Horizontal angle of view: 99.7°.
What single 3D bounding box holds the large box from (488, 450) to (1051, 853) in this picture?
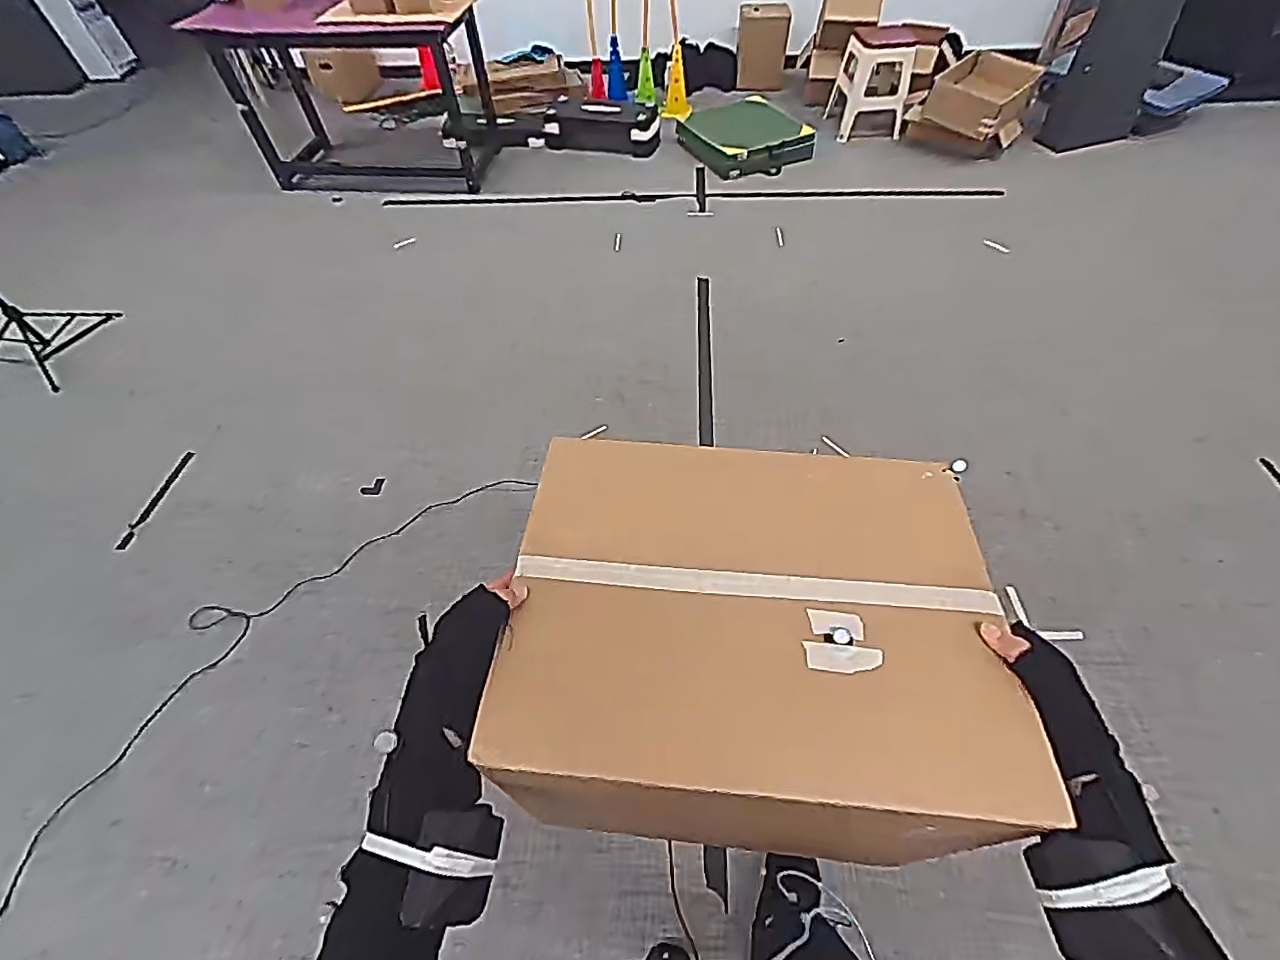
[{"bbox_3d":[0.096,0.190,0.585,0.408,0.320,0.320,4,52,3],"label":"large box"}]
